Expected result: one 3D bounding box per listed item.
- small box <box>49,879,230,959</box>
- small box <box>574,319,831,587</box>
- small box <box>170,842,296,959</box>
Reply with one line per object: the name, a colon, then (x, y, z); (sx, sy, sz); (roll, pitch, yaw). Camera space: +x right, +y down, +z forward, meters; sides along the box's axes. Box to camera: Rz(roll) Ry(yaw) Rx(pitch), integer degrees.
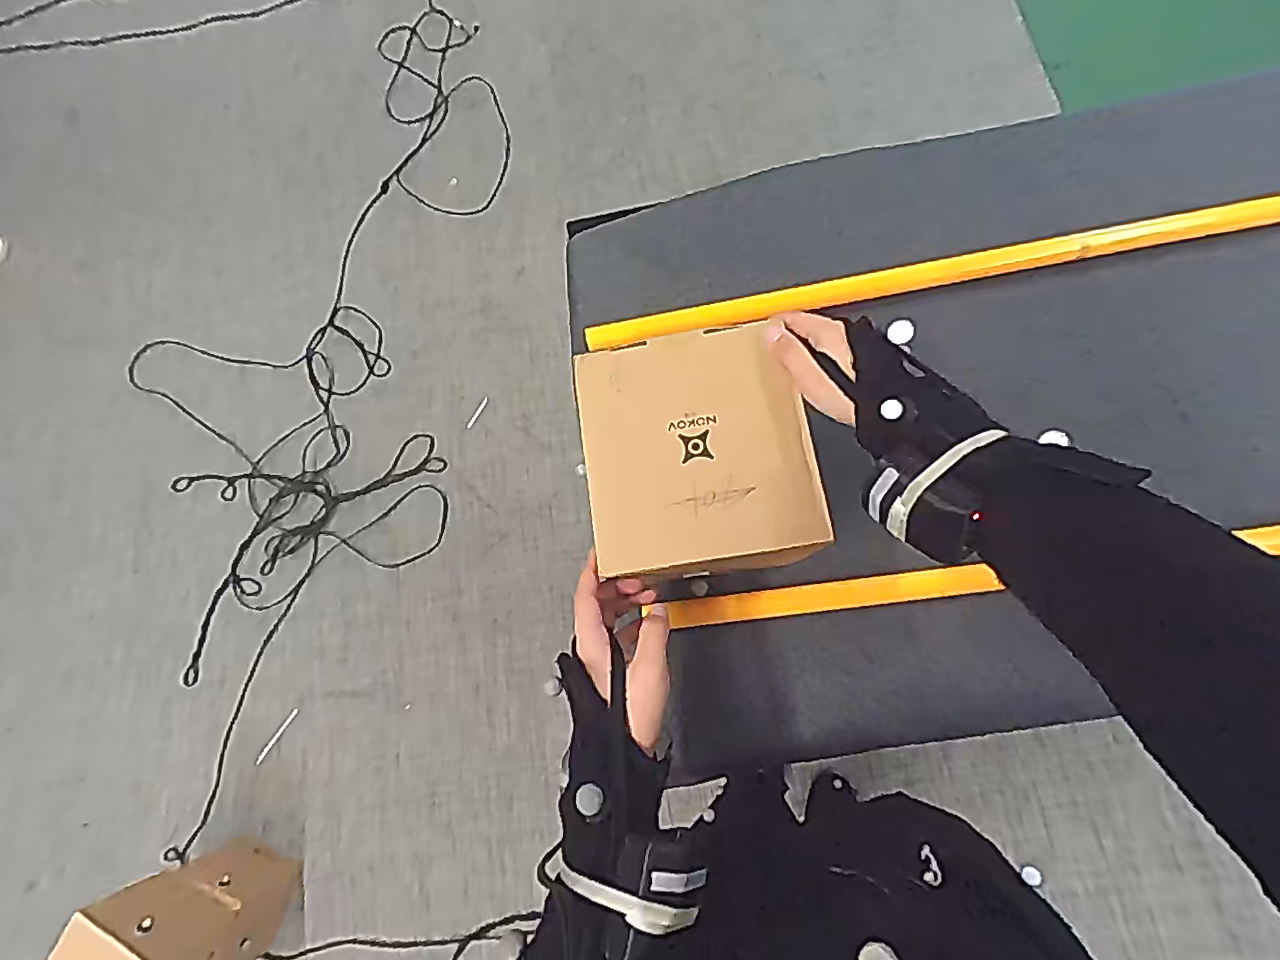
small box: (-0.871, 0.836, 0.930); (0.179, 0.176, 0.168); (21, 77, 12)
small box: (0.048, -0.009, 0.471); (0.168, 0.176, 0.179); (-10, 75, 5)
small box: (-0.842, 0.879, 1.087); (0.168, 0.176, 0.179); (16, 77, 10)
